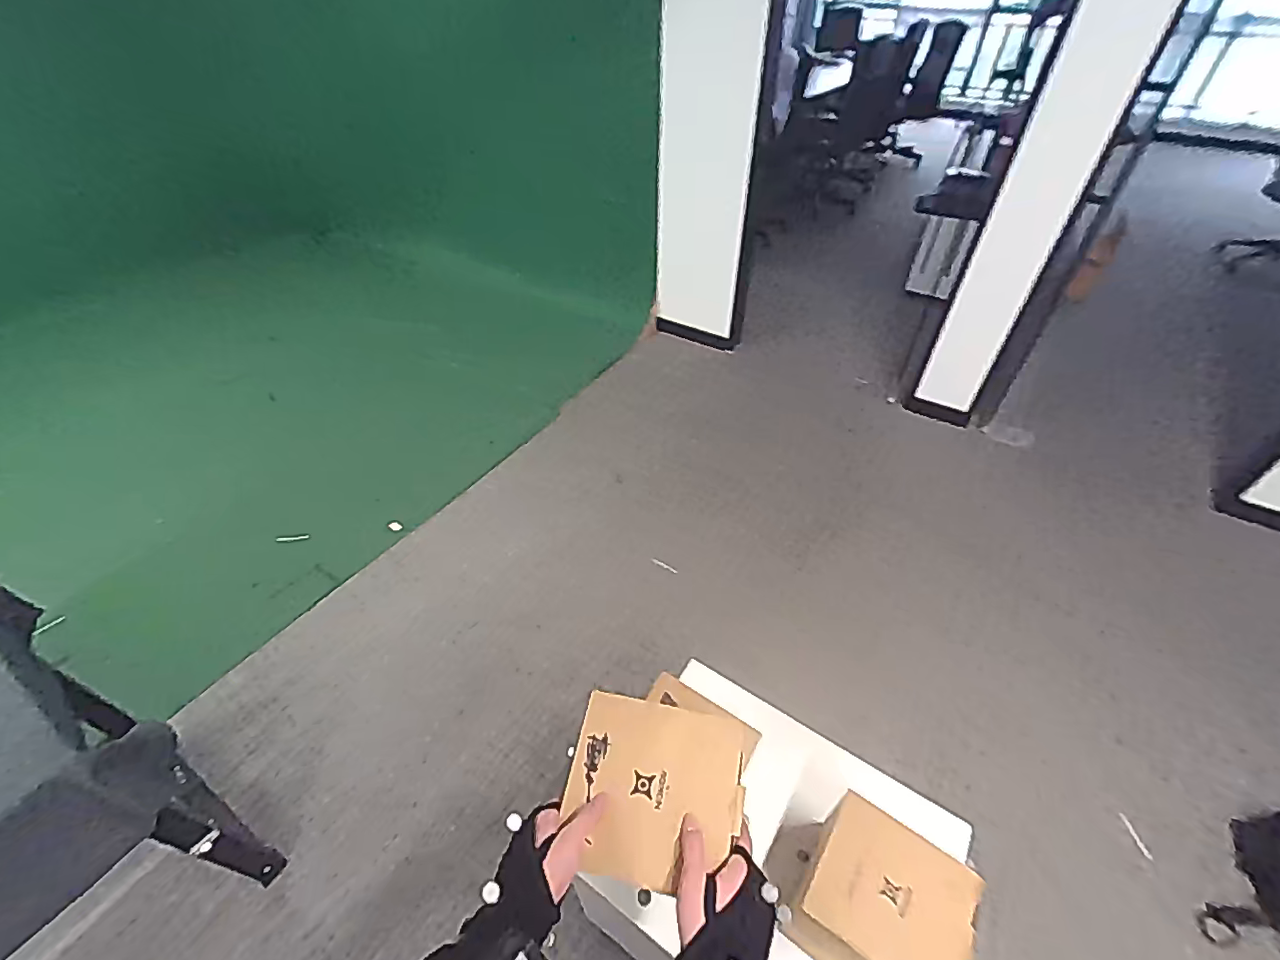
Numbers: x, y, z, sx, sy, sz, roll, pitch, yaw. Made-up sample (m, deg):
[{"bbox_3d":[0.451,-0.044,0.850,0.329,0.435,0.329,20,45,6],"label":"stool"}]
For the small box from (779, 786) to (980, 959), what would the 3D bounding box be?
[{"bbox_3d":[0.308,0.556,0.720,0.179,0.176,0.168,26,49,24],"label":"small box"}]

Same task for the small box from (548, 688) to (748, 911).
[{"bbox_3d":[0.018,0.355,0.610,0.179,0.176,0.168,8,56,10],"label":"small box"}]

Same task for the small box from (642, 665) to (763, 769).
[{"bbox_3d":[0.062,0.429,0.833,0.179,0.176,0.168,28,51,21],"label":"small box"}]
